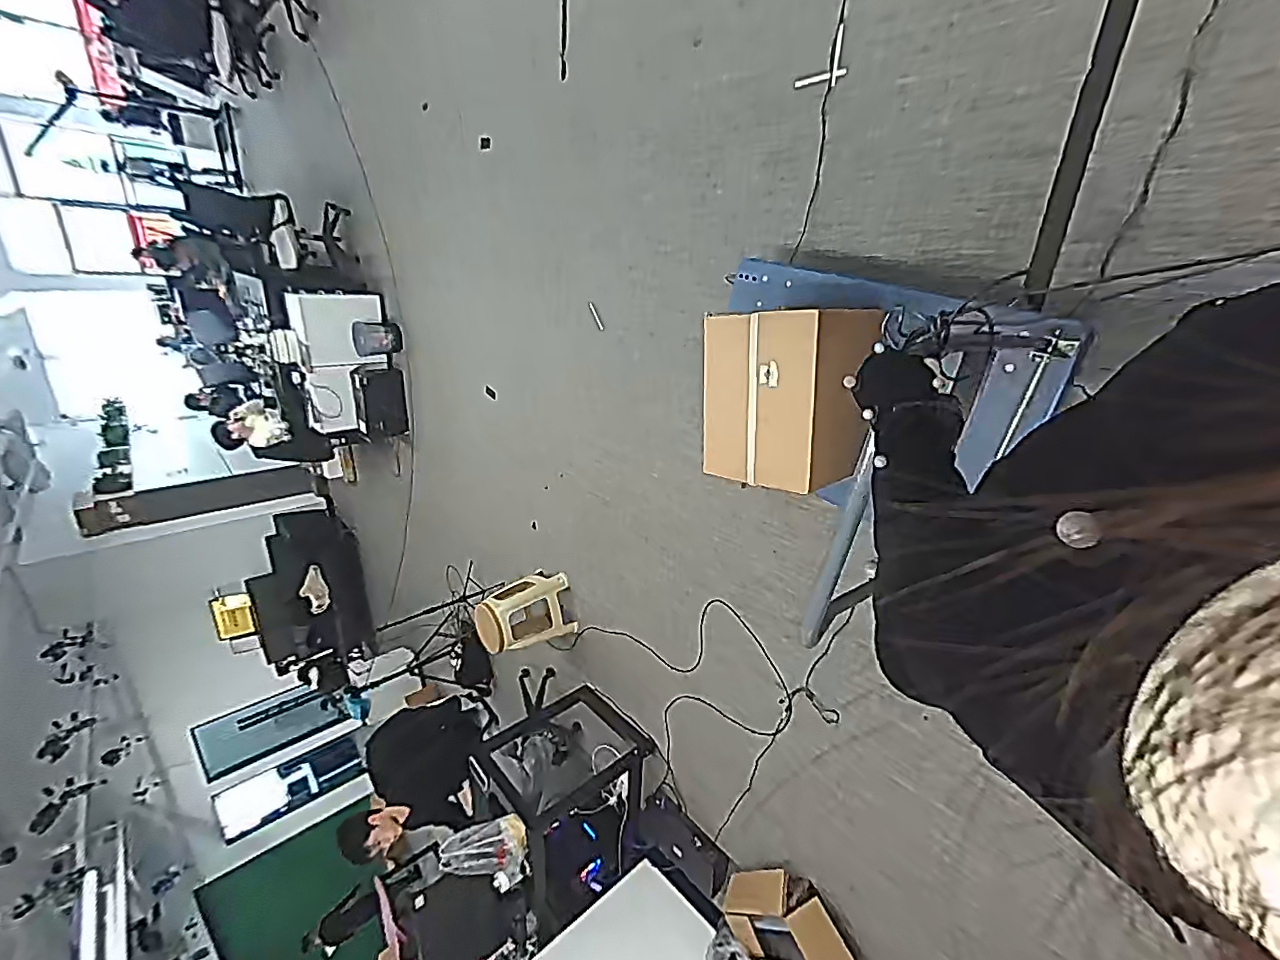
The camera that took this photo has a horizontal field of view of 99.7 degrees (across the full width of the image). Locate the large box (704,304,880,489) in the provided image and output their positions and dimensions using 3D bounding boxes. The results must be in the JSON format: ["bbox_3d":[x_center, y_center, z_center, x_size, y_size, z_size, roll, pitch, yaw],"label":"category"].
[{"bbox_3d":[0.378,-0.219,1.365,0.320,0.320,0.408,14,111,45],"label":"large box"}]
